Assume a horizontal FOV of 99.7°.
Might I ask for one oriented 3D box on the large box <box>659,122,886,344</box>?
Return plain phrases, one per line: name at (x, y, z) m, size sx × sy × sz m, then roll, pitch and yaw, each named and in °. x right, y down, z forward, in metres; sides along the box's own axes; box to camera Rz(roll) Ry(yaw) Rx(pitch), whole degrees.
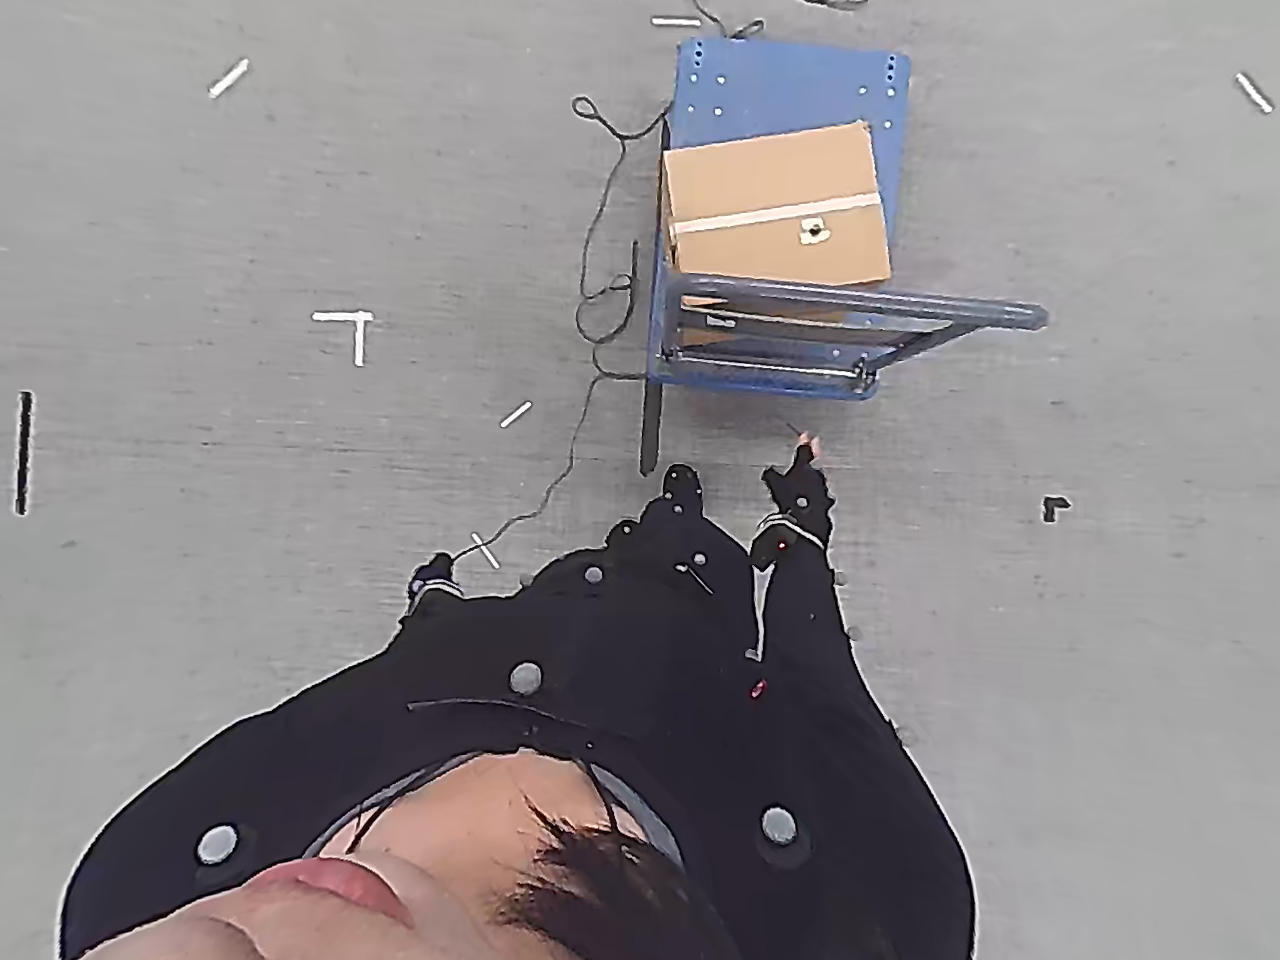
large box at (0.264, -0.519, 1.205) m, size 0.408 × 0.320 × 0.320 m, roll -8°, pitch 90°, yaw 1°
